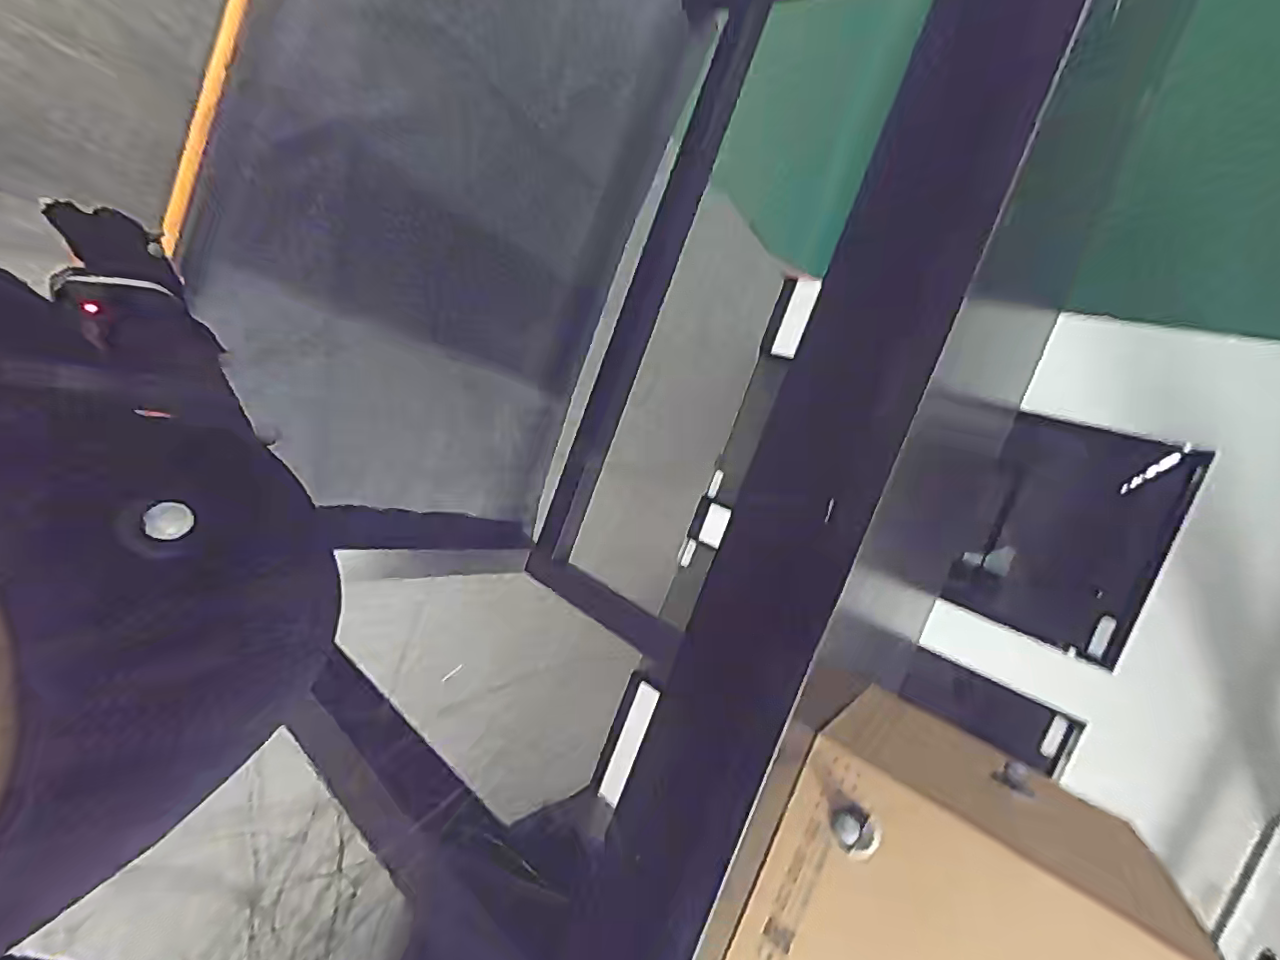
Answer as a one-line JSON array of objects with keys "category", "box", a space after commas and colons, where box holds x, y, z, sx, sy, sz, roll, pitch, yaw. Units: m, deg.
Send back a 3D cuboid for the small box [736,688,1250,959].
[{"category": "small box", "box": [0.175, 0.244, 0.310, 0.179, 0.176, 0.168, 19, 93, -58]}]
